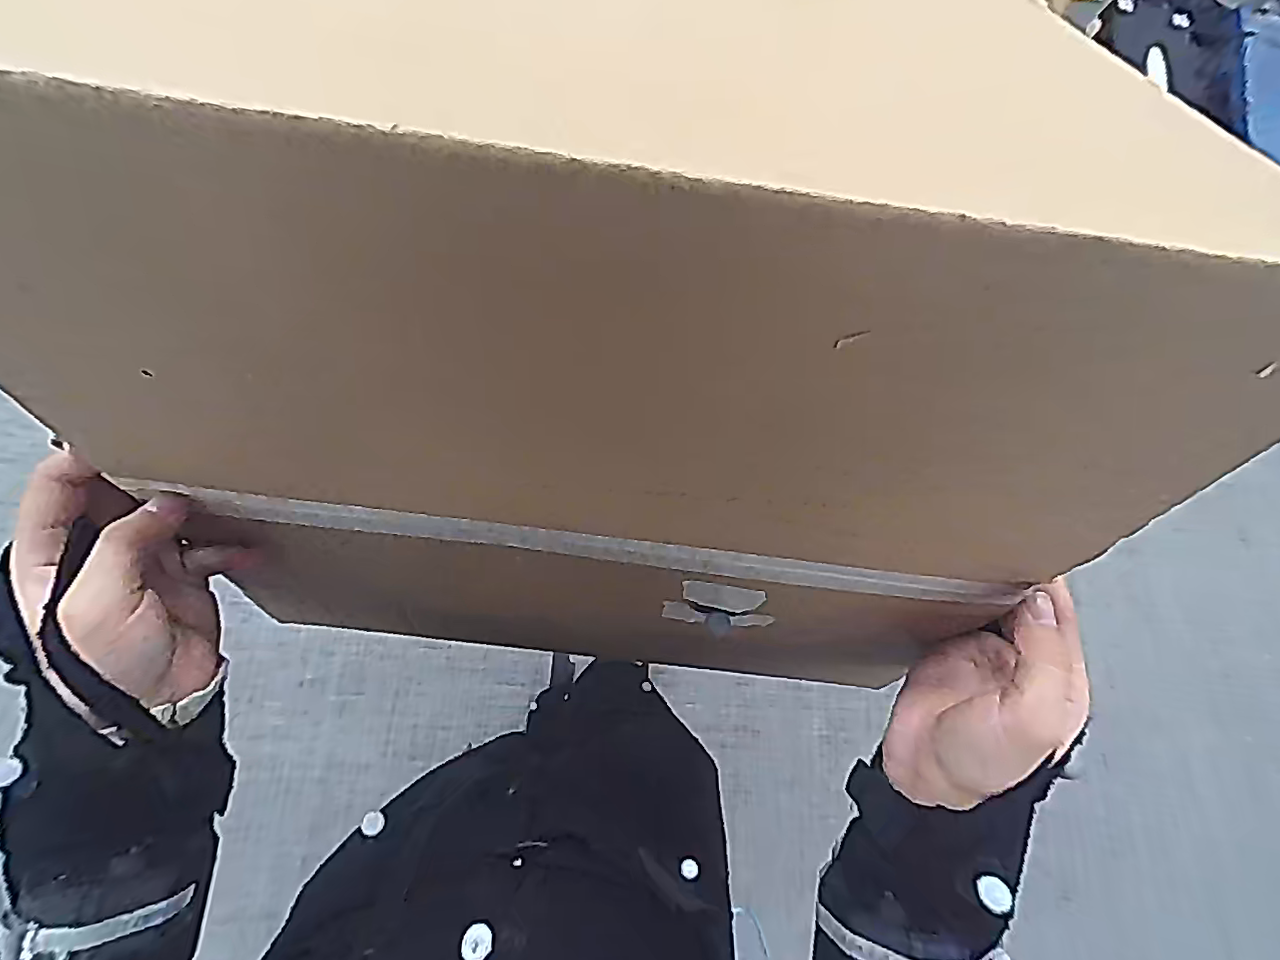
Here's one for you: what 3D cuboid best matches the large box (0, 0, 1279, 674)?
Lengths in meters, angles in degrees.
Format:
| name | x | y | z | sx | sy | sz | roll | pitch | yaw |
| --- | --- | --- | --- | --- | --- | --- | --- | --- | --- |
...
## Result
| name | x | y | z | sx | sy | sz | roll | pitch | yaw |
| --- | --- | --- | --- | --- | --- | --- | --- | --- | --- |
| large box | -0.013 | -0.095 | 0.341 | 0.408 | 0.320 | 0.320 | 6 | 54 | -3 |
